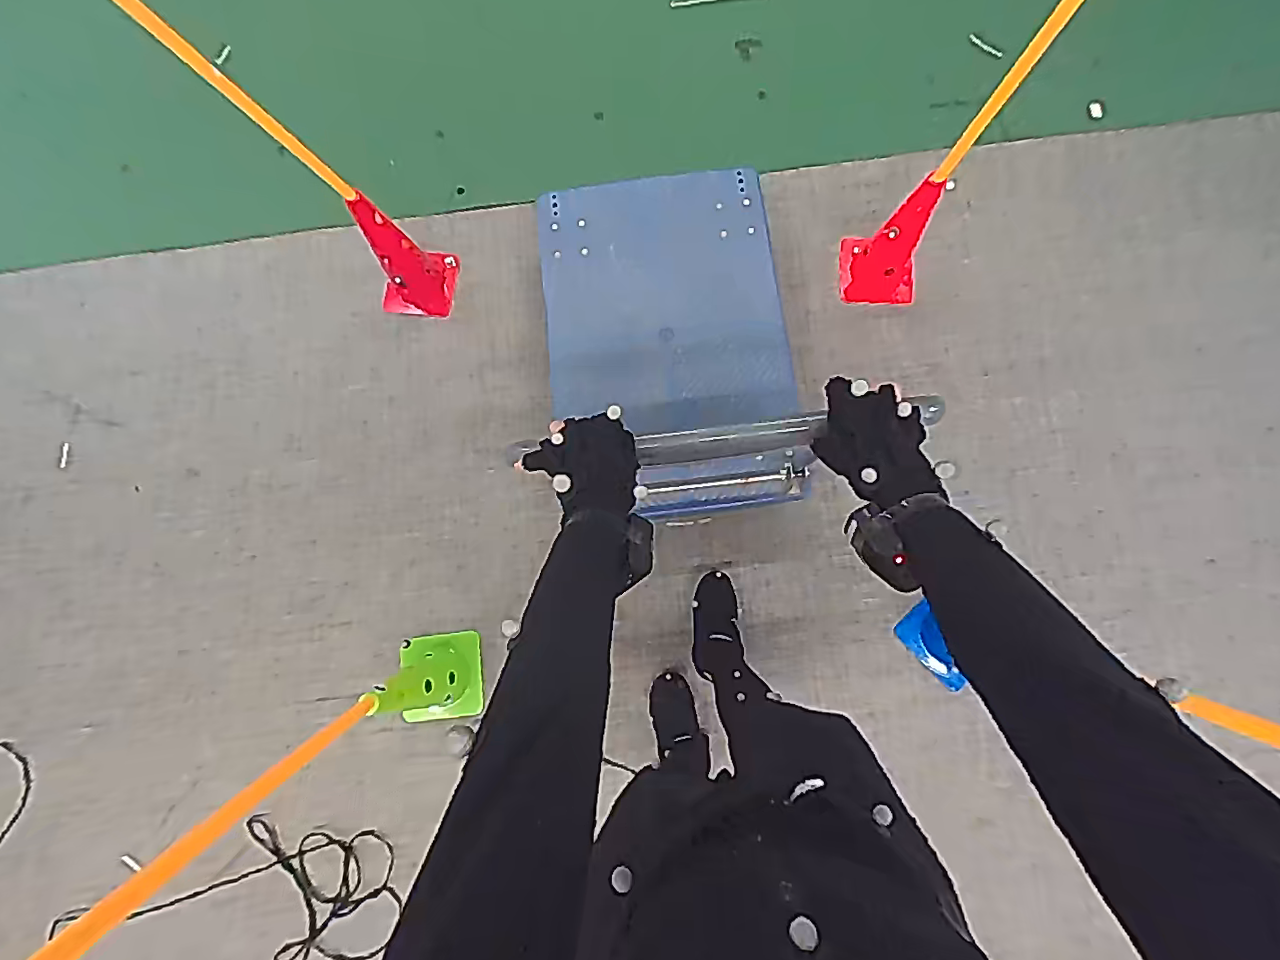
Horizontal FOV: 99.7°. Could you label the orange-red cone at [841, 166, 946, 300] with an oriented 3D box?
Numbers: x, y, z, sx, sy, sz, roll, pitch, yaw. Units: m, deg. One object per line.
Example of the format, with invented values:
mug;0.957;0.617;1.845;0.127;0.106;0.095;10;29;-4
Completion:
orange-red cone;0.653;-0.627;1.338;0.198;0.360;0.199;4;80;4
